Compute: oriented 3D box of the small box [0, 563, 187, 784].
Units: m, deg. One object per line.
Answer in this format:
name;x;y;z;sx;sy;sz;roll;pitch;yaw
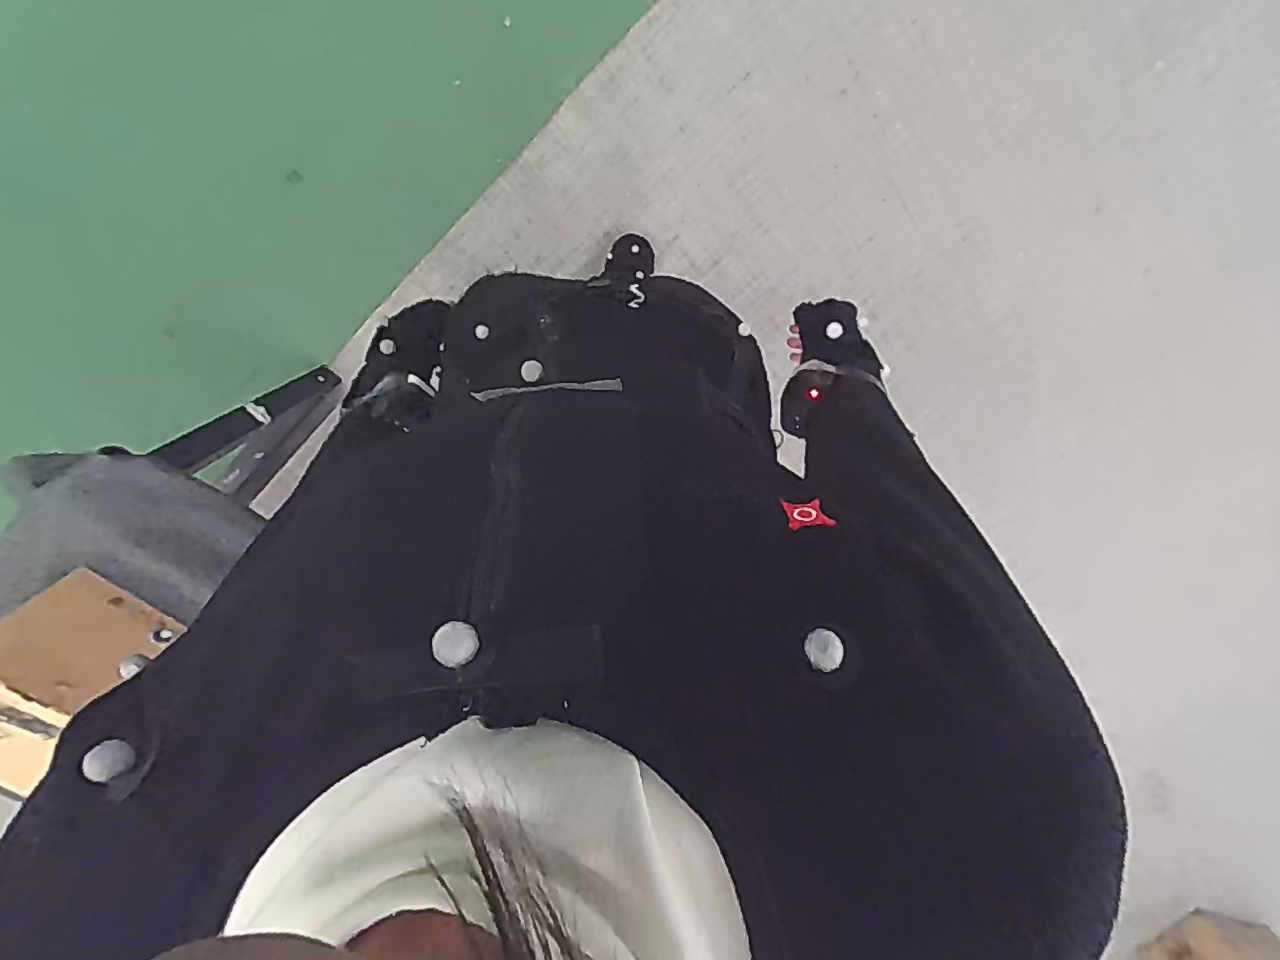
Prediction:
small box;-0.744;0.240;0.694;0.179;0.176;0.168;-38;112;16
